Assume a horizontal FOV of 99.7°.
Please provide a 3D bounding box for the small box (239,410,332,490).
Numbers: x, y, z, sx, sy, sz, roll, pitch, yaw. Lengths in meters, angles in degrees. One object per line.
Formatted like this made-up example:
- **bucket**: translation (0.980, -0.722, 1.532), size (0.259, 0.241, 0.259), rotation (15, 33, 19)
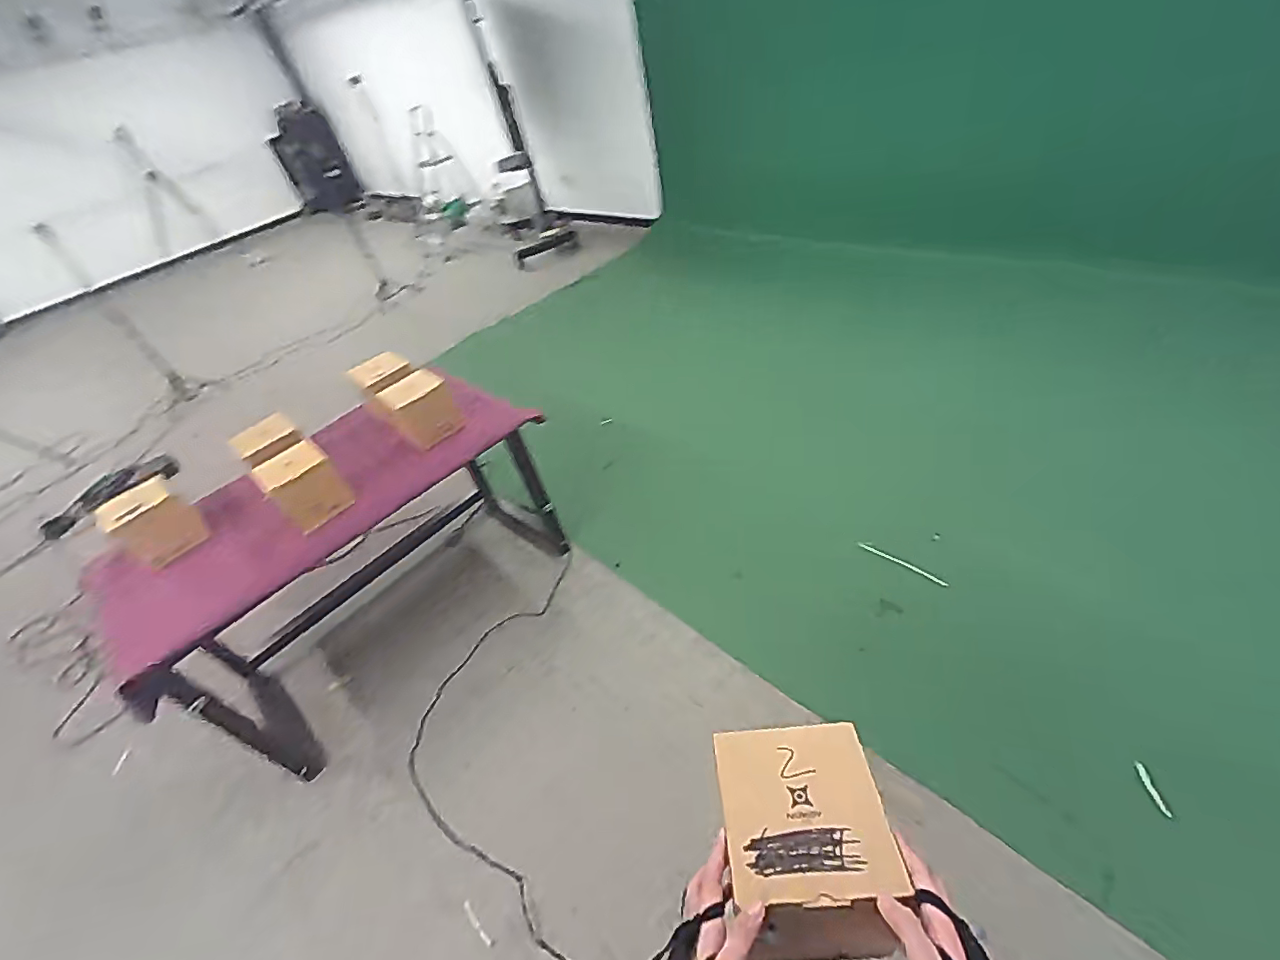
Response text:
- **small box**: translation (-1.132, -0.094, 1.732), size (0.168, 0.176, 0.179), rotation (-40, 48, -25)

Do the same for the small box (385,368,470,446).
- **small box**: translation (-0.684, -0.235, 1.750), size (0.168, 0.176, 0.179), rotation (-39, 45, -24)

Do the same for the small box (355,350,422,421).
- **small box**: translation (-0.863, -0.333, 1.915), size (0.179, 0.176, 0.168), rotation (28, 57, 37)

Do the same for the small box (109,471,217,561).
- **small box**: translation (-1.382, 0.109, 1.575), size (0.179, 0.176, 0.168), rotation (27, 55, 38)
